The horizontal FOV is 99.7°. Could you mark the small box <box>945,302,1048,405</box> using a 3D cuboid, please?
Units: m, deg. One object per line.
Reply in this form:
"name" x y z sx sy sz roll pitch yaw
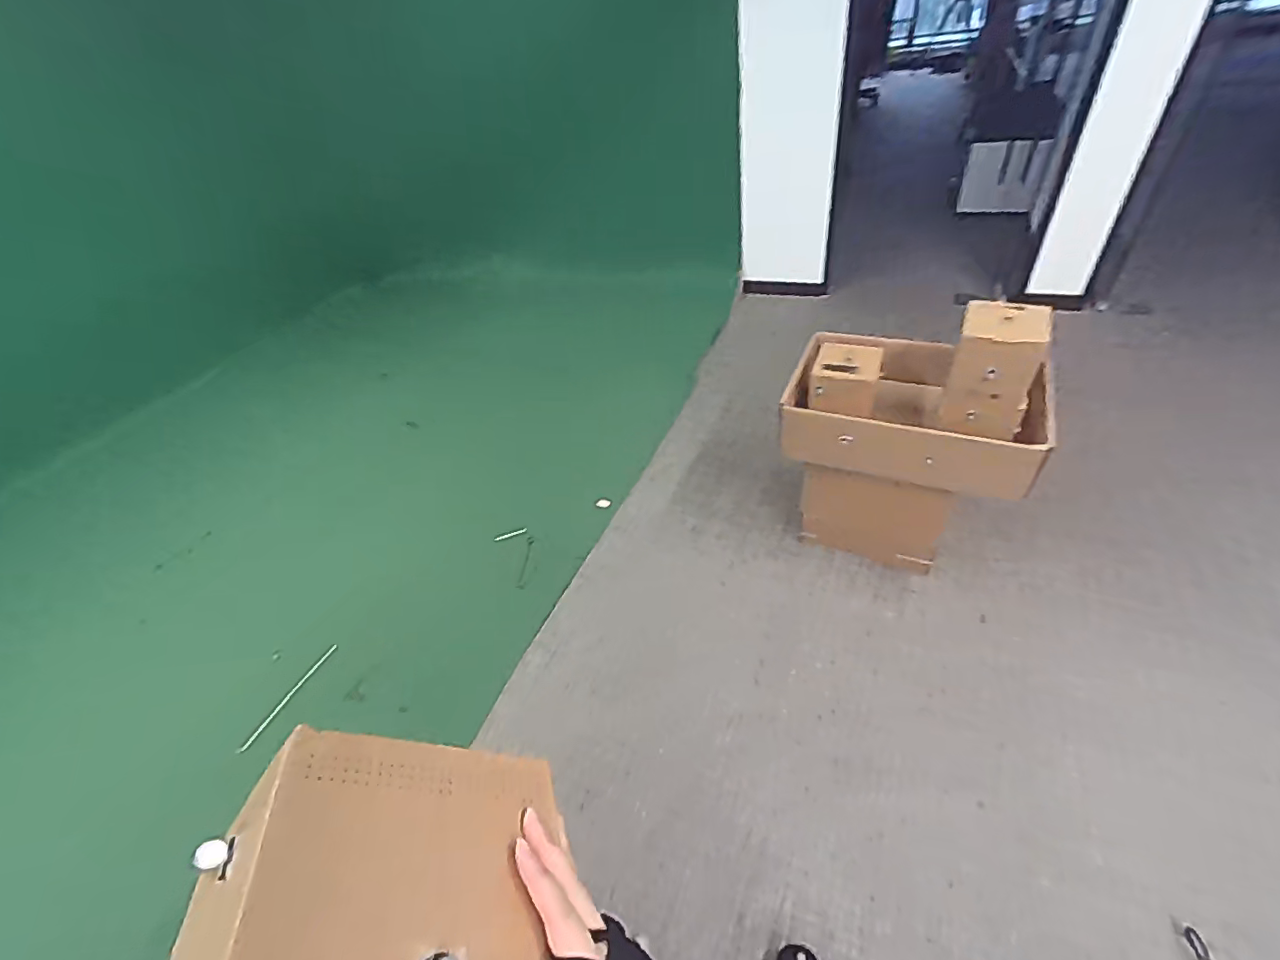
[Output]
"small box" 0.842 -0.300 1.284 0.168 0.176 0.179 15 49 25
